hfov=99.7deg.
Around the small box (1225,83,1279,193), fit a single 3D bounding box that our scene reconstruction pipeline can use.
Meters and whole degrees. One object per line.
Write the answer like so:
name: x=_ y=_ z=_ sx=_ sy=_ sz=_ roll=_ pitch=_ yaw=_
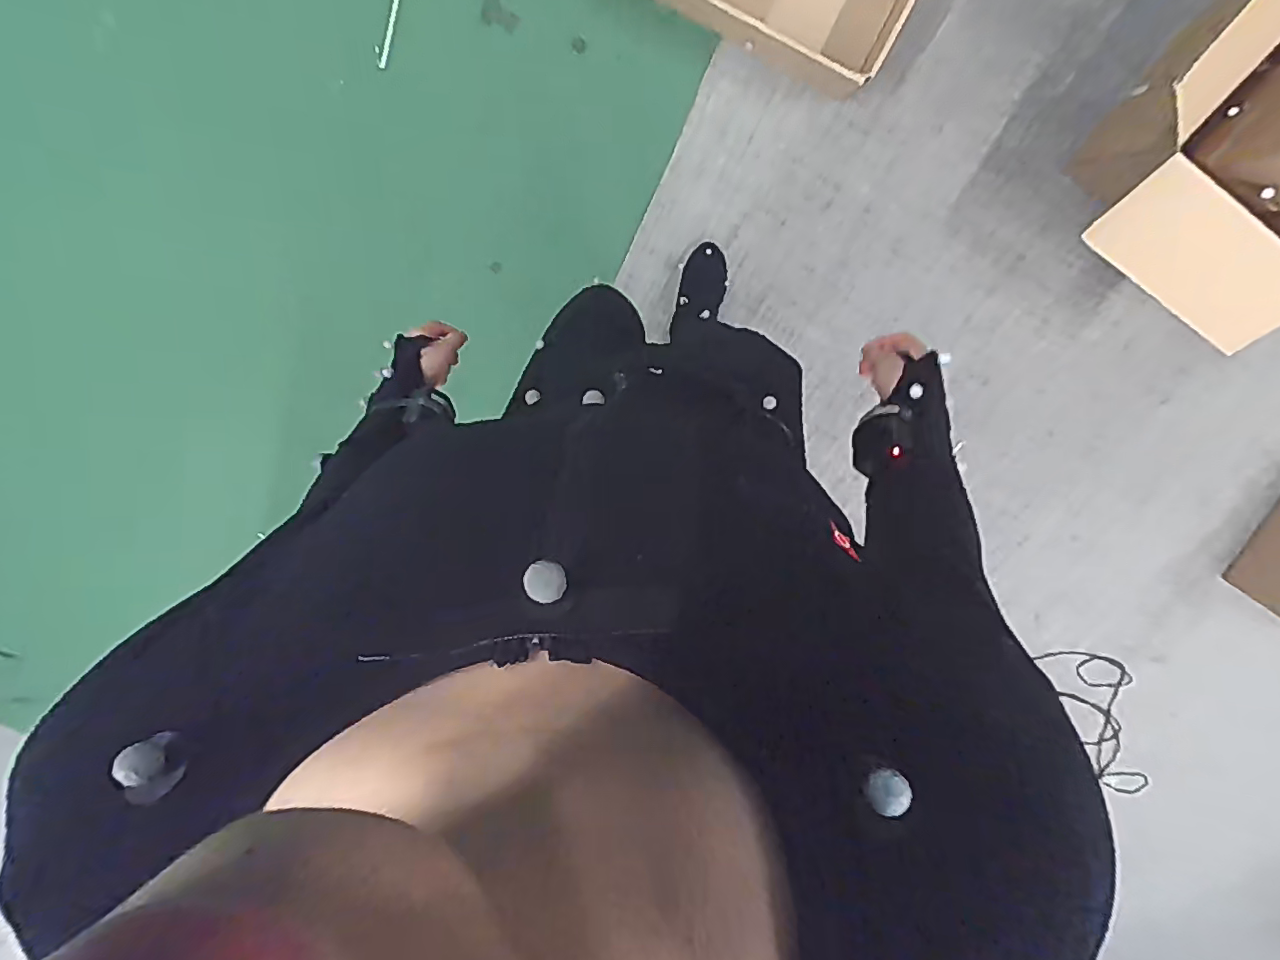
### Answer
small box: x=1.117 y=-0.574 z=0.849 sx=0.168 sy=0.176 sz=0.179 roll=26 pitch=116 yaw=-3
